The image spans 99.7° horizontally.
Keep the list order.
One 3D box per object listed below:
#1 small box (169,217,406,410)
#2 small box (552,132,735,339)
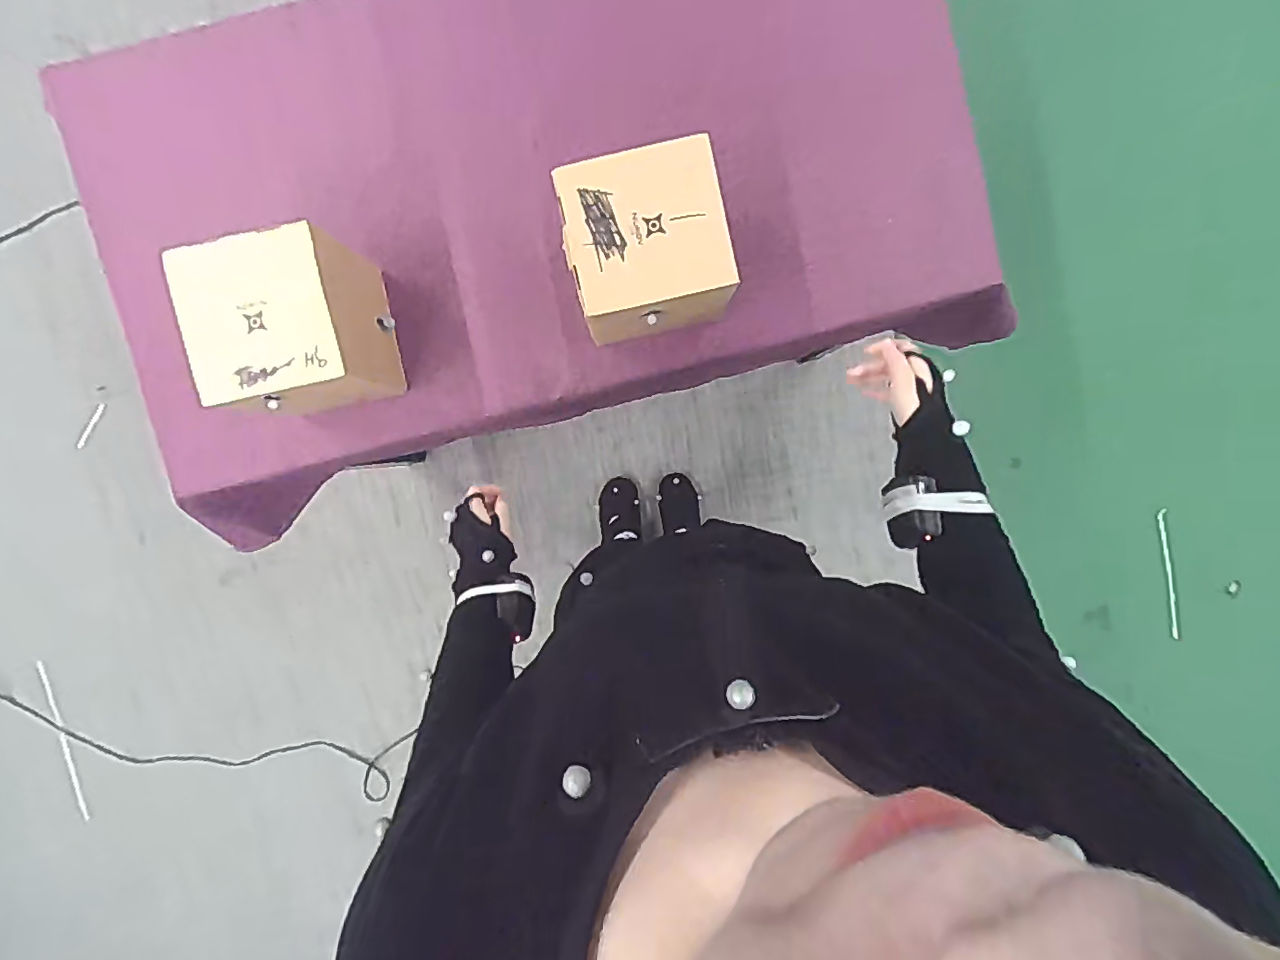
[{"bbox_3d":[-0.421,-0.193,0.676,0.168,0.176,0.179,-12,93,1],"label":"small box"},{"bbox_3d":[0.005,-0.284,0.669,0.179,0.176,0.168,-12,94,1],"label":"small box"}]
